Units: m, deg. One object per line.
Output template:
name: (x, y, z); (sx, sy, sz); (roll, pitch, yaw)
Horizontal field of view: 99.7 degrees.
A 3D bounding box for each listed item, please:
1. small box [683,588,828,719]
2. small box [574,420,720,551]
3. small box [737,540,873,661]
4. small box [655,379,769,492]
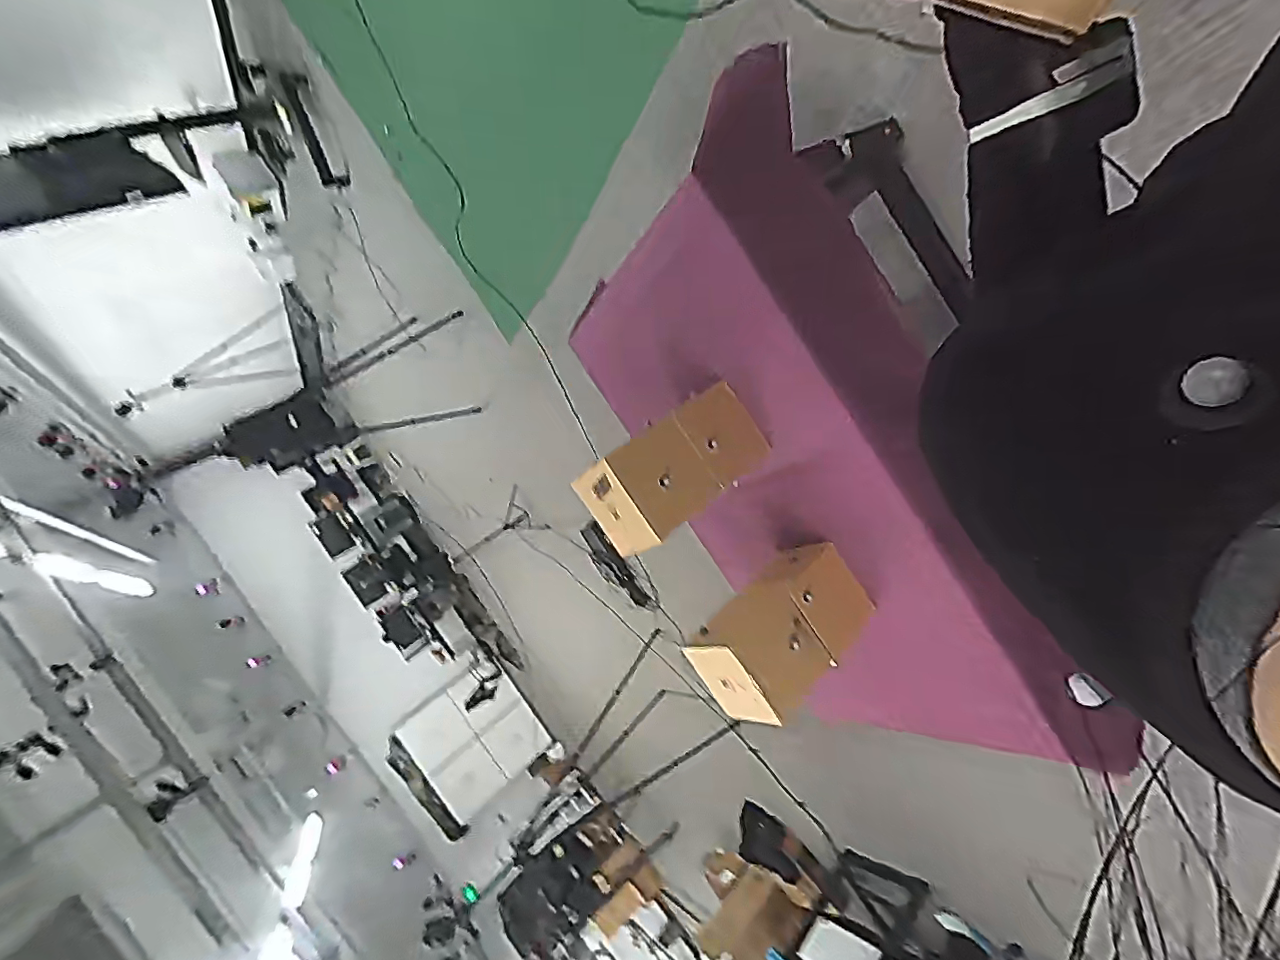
small box: (0.222, 0.326, 1.043); (0.168, 0.176, 0.179); (55, 150, -1)
small box: (0.013, 0.006, 1.016); (0.179, 0.176, 0.168); (55, 149, -3)
small box: (0.344, 0.249, 1.122); (0.179, 0.176, 0.168); (56, 150, -1)
small box: (0.128, -0.076, 1.098); (0.179, 0.176, 0.168); (57, 149, -3)
